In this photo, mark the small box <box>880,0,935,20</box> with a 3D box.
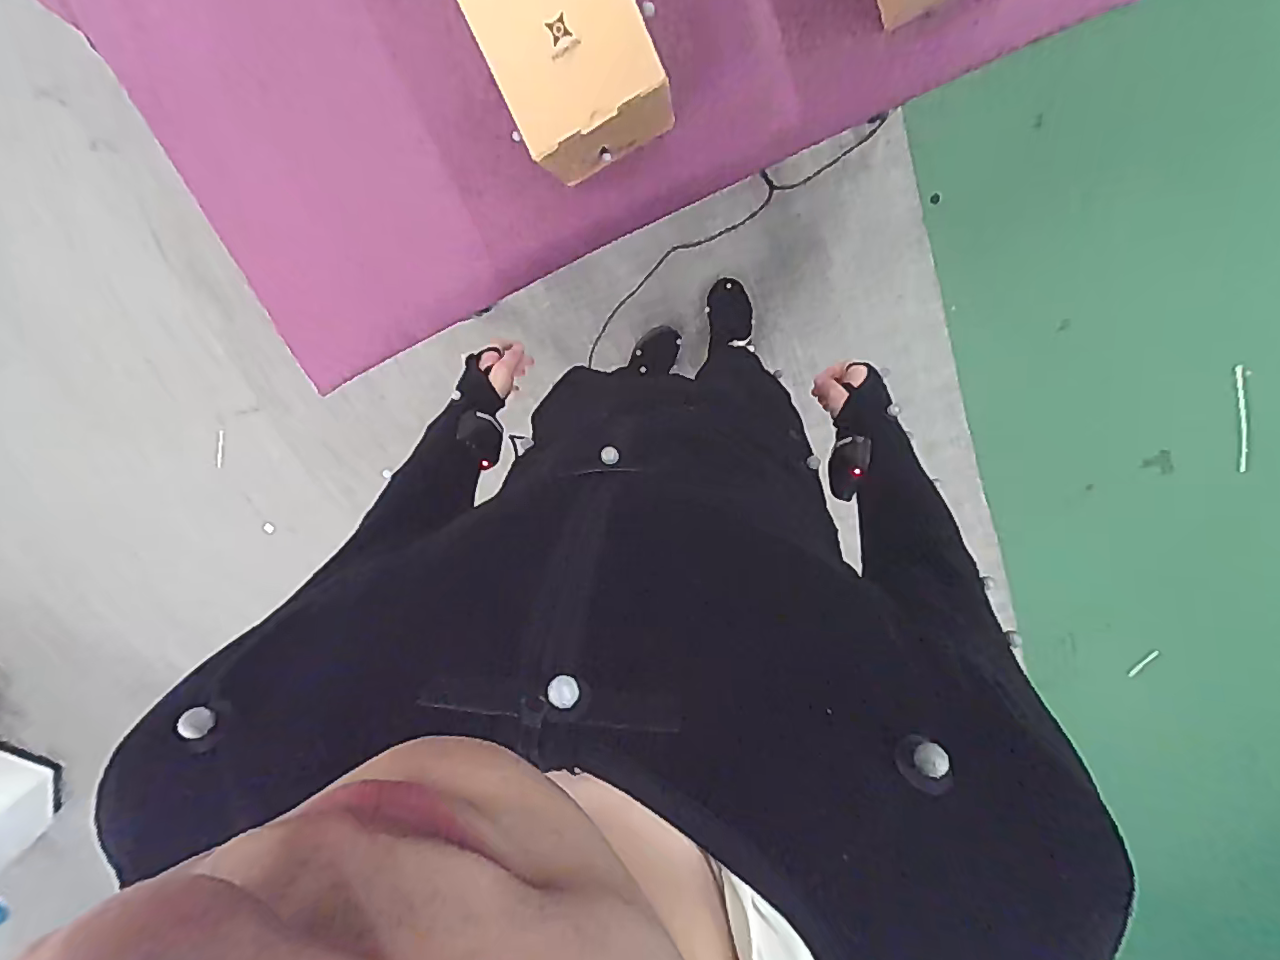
[{"bbox_3d":[0.326,-0.623,0.536,0.168,0.176,0.179,-20,107,15],"label":"small box"}]

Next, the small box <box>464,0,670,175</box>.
[{"bbox_3d":[-0.073,-0.492,0.631,0.168,0.176,0.179,-23,107,13],"label":"small box"}]
